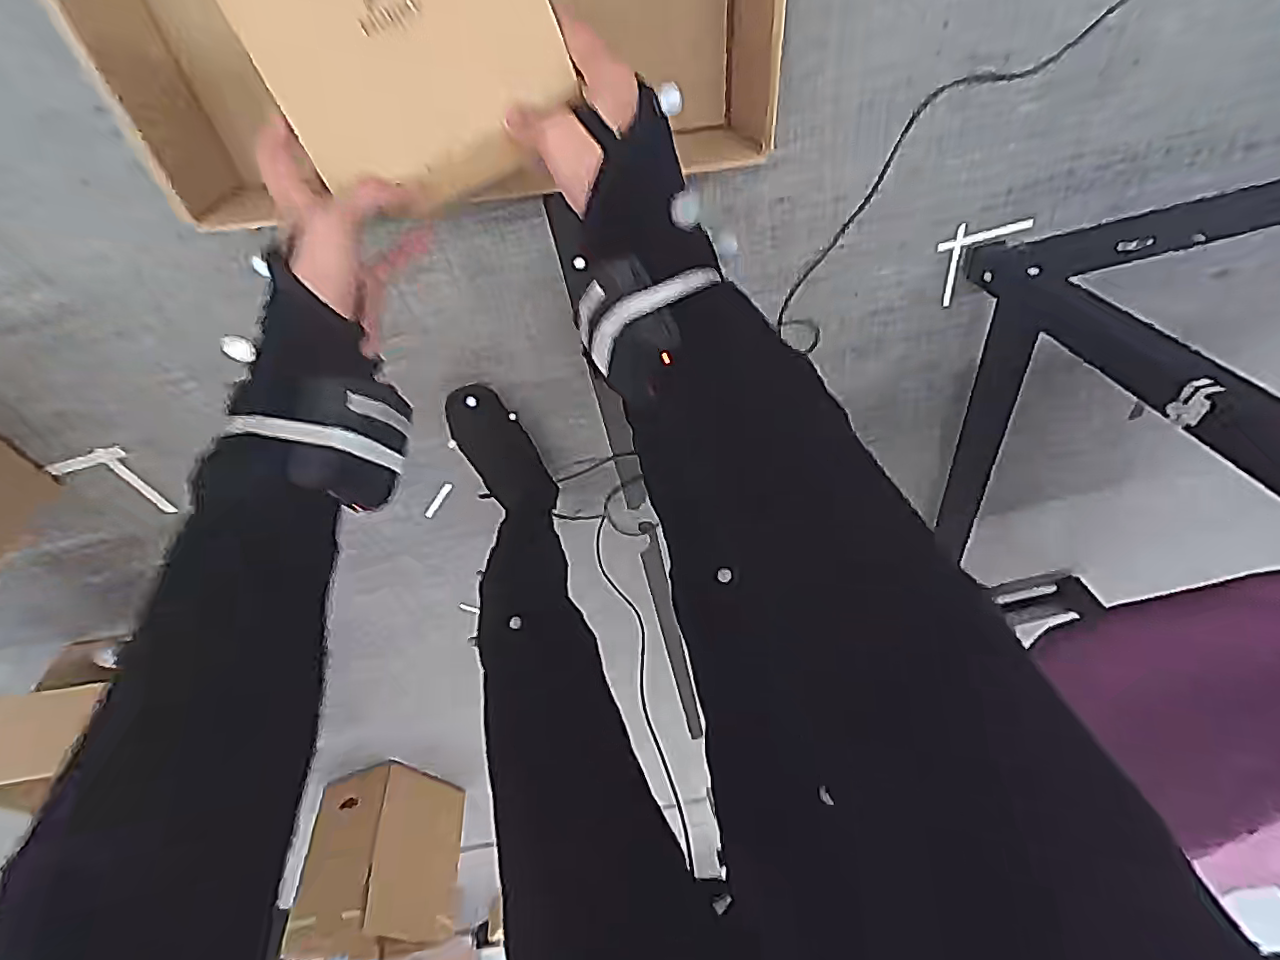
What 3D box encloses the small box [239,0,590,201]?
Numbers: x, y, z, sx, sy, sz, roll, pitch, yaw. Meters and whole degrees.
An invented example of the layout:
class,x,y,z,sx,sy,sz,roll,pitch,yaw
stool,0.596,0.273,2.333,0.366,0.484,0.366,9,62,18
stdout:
class,x,y,z,sx,sy,sz,roll,pitch,yaw
small box,-0.140,-0.309,0.366,0.168,0.176,0.179,-22,113,6
